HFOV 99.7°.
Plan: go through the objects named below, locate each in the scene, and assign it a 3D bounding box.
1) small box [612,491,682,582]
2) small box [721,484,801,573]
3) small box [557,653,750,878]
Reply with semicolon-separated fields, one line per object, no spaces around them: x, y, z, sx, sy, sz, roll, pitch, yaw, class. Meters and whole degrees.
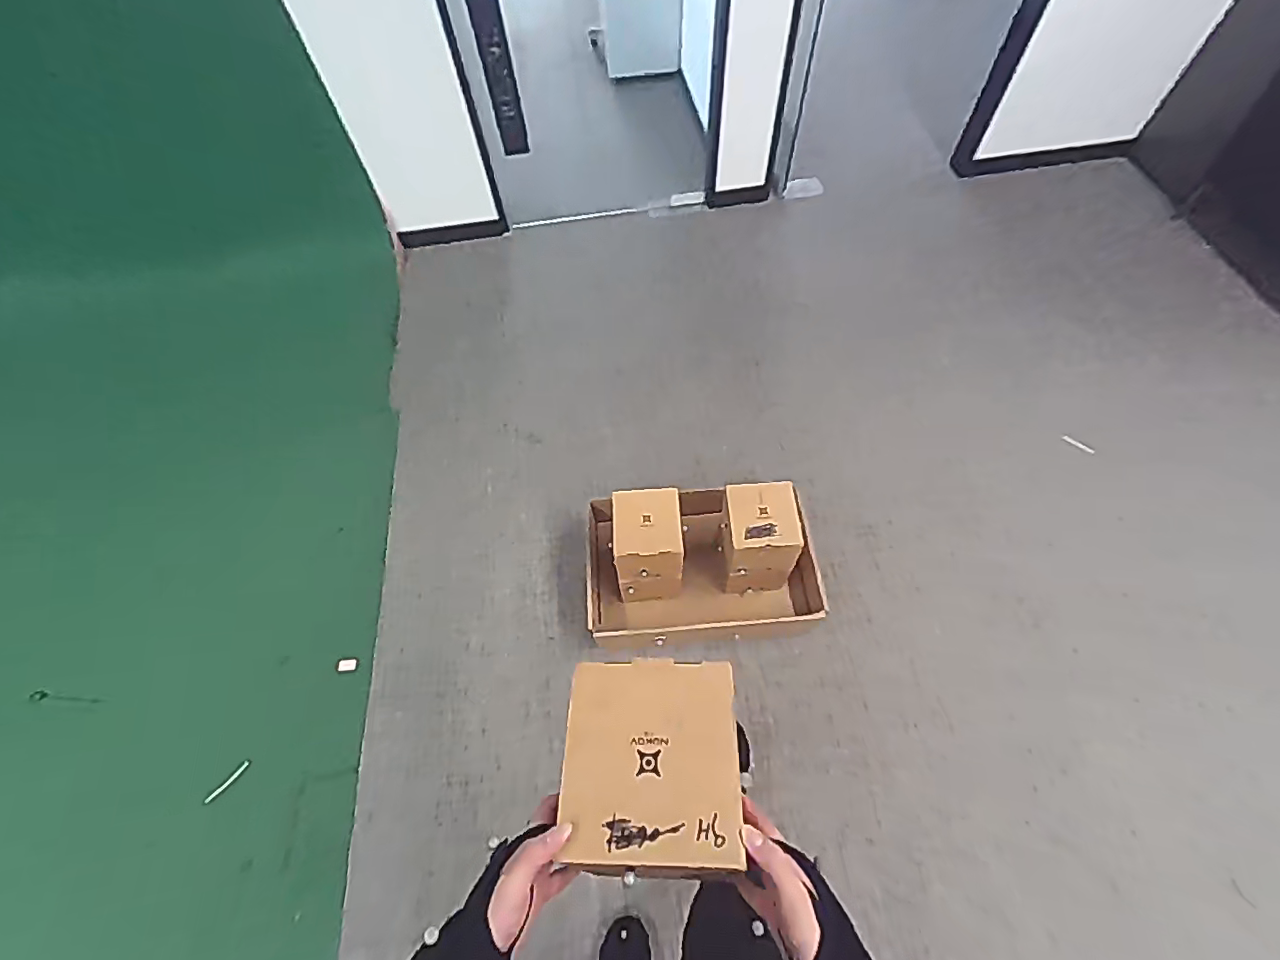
0.015;0.144;1.369;0.168;0.176;0.179;-3;59;0;small box
0.298;0.128;1.365;0.168;0.176;0.179;-3;58;2;small box
0.020;0.299;0.565;0.168;0.176;0.179;-3;50;6;small box
